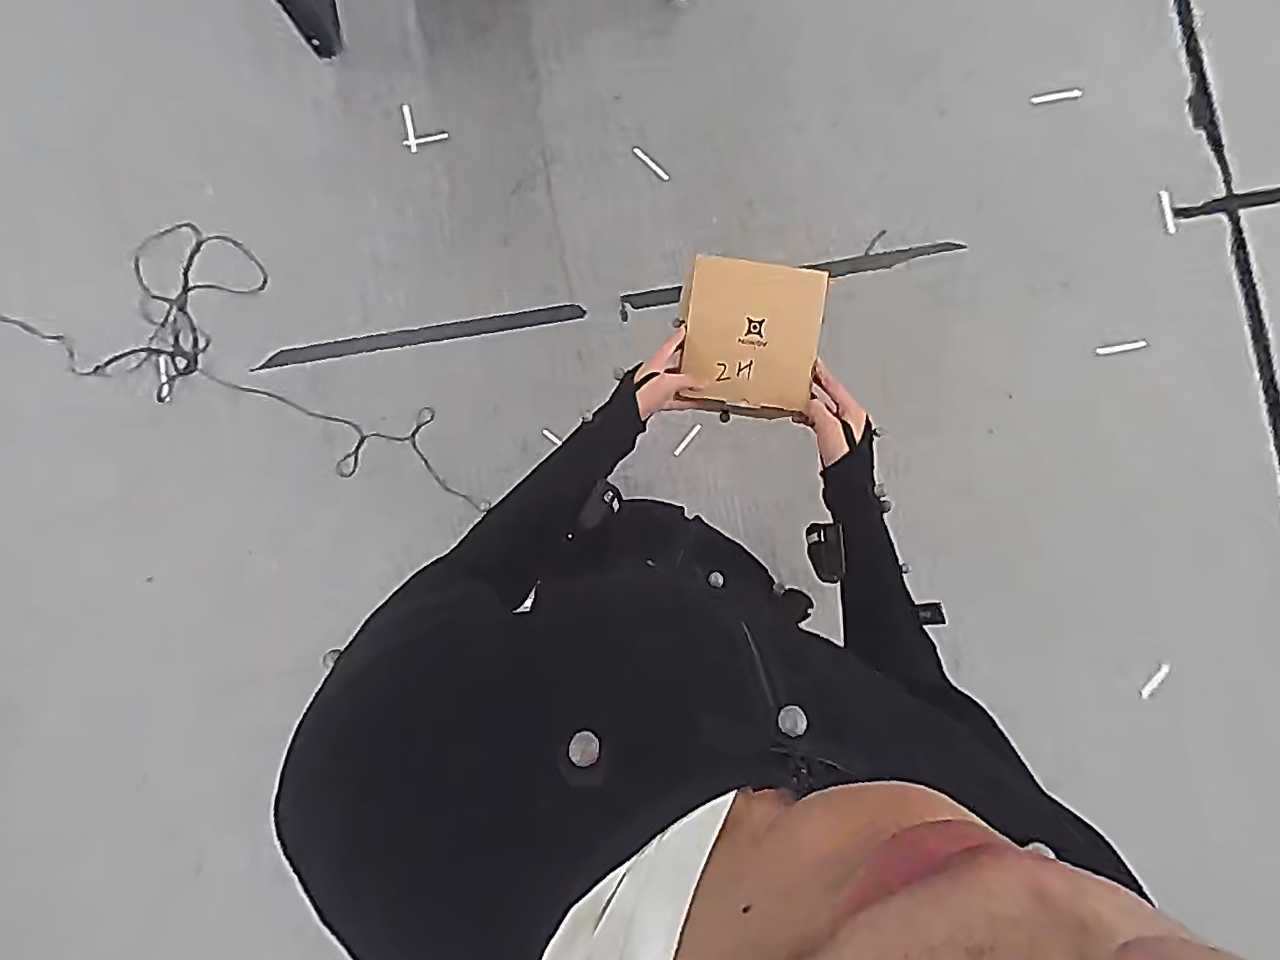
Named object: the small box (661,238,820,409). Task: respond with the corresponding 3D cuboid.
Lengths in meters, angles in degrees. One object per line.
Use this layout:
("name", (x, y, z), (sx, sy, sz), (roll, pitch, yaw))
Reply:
("small box", (0.122, -0.196, 0.726), (0.168, 0.176, 0.179), (7, 94, -2))

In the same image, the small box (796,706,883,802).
("small box", (0.562, 0.772, 1.539), (0.168, 0.176, 0.179), (-10, 89, -2))
